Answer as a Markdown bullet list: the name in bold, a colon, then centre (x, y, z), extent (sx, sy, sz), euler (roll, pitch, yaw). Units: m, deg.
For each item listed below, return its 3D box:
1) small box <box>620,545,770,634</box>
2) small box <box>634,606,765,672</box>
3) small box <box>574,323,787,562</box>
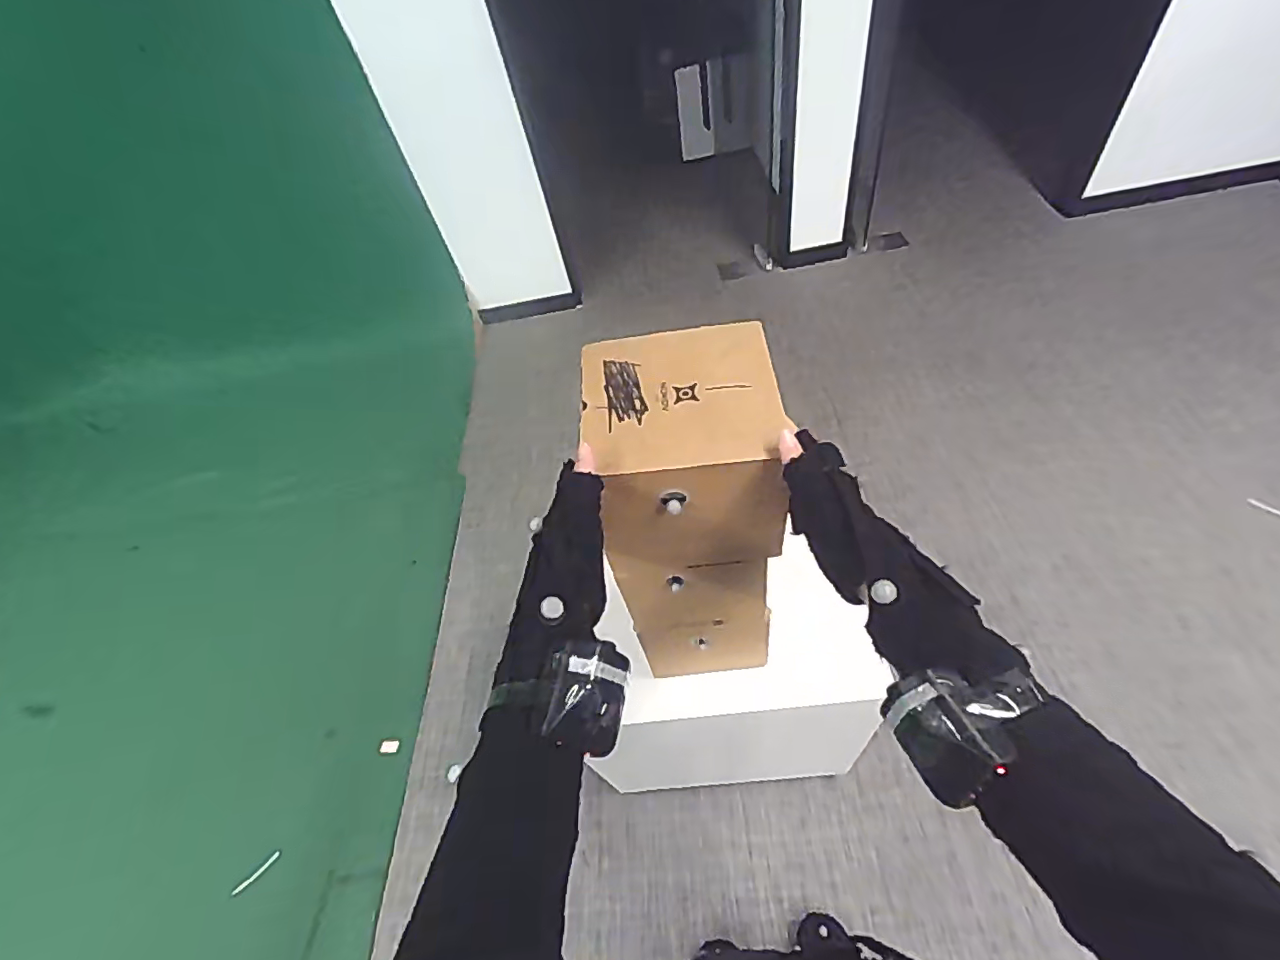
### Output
- **small box**: centre (0.064, 0.077, 0.695), extent (0.168, 0.176, 0.179), euler (-8, 52, 4)
- **small box**: centre (0.088, 0.179, 0.817), extent (0.179, 0.176, 0.168), euler (-8, 52, 5)
- **small box**: centre (0.041, -0.029, 0.542), extent (0.179, 0.176, 0.168), euler (-6, 54, 5)
